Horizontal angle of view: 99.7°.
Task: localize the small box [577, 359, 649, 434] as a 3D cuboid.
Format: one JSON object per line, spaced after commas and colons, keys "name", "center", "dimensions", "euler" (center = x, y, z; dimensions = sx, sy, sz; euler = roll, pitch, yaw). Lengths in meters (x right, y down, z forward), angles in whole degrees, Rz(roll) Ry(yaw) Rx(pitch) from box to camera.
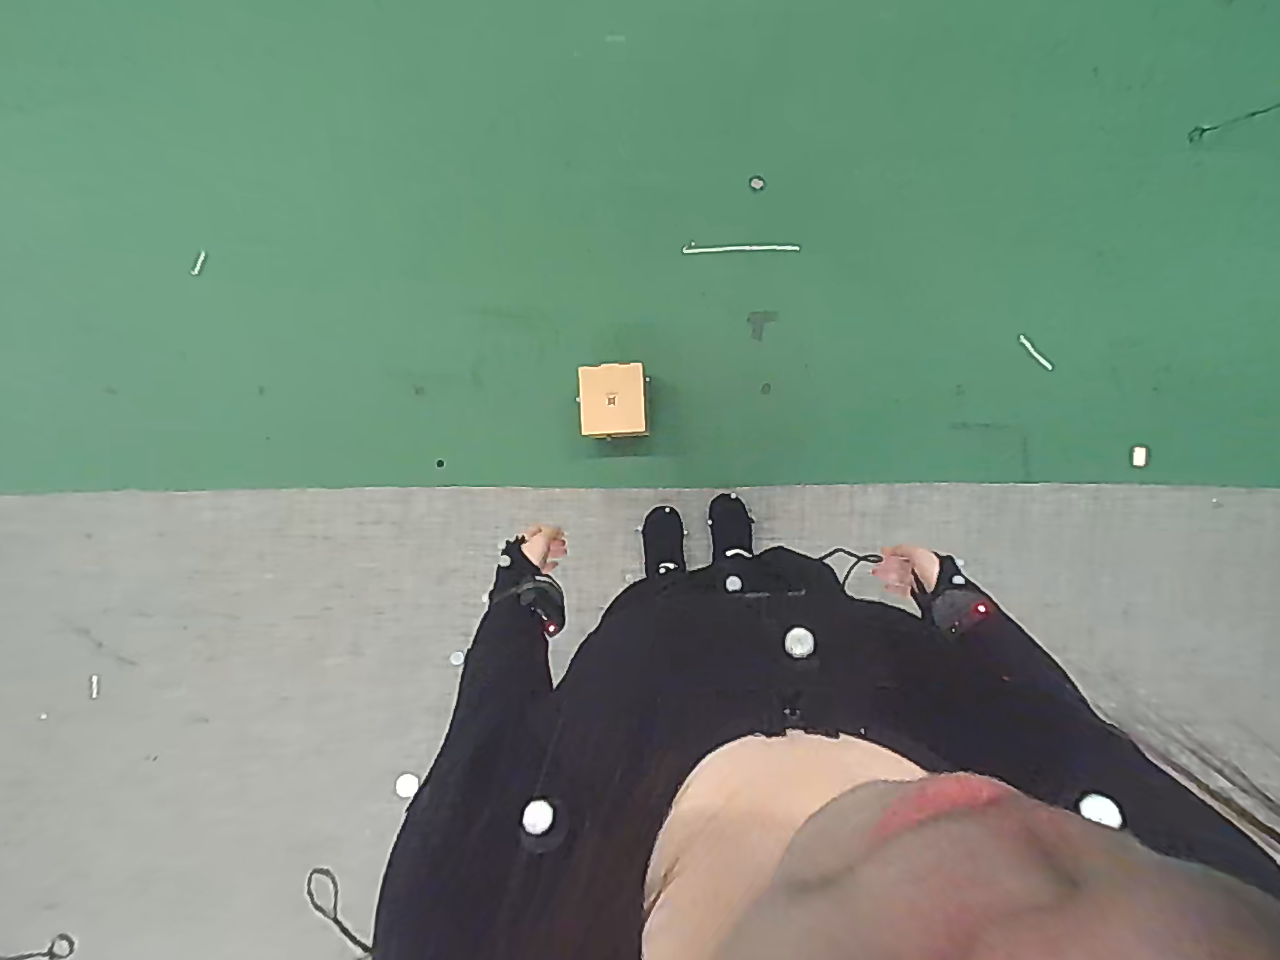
{"name": "small box", "center": [-0.066, -0.215, 1.436], "dimensions": [0.168, 0.176, 0.179], "euler": [-3, 91, 6]}
